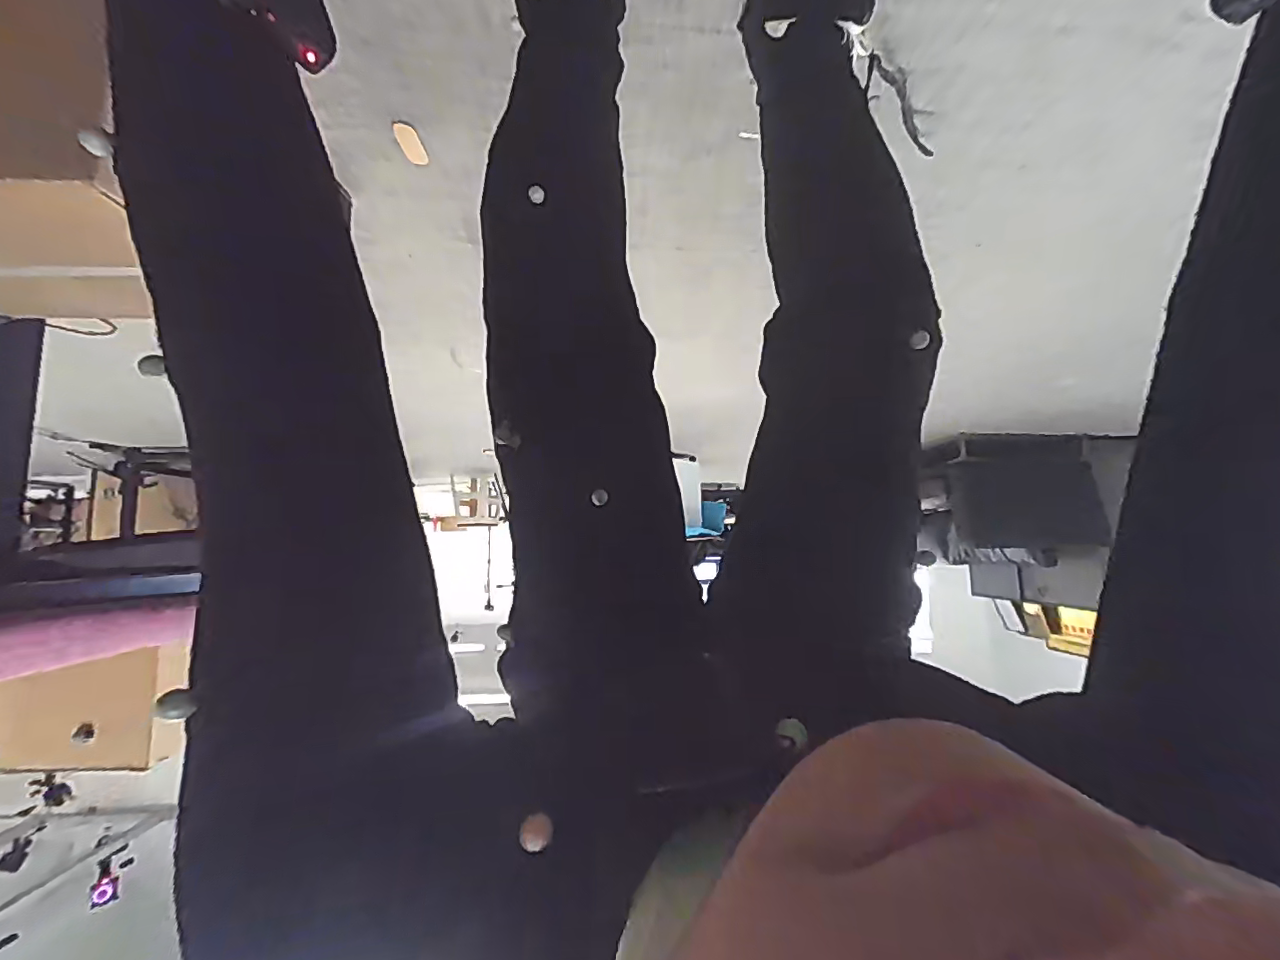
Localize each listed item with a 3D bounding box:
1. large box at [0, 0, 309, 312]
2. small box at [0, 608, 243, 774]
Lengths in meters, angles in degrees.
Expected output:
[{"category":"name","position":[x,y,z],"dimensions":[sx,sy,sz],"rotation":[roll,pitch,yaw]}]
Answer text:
[{"category":"large box","position":[-0.691,-0.411,0.647],"dimensions":[0.408,0.320,0.320],"rotation":[0,172,-1]},{"category":"small box","position":[-0.665,0.264,0.715],"dimensions":[0.179,0.176,0.168],"rotation":[1,172,-2]}]
